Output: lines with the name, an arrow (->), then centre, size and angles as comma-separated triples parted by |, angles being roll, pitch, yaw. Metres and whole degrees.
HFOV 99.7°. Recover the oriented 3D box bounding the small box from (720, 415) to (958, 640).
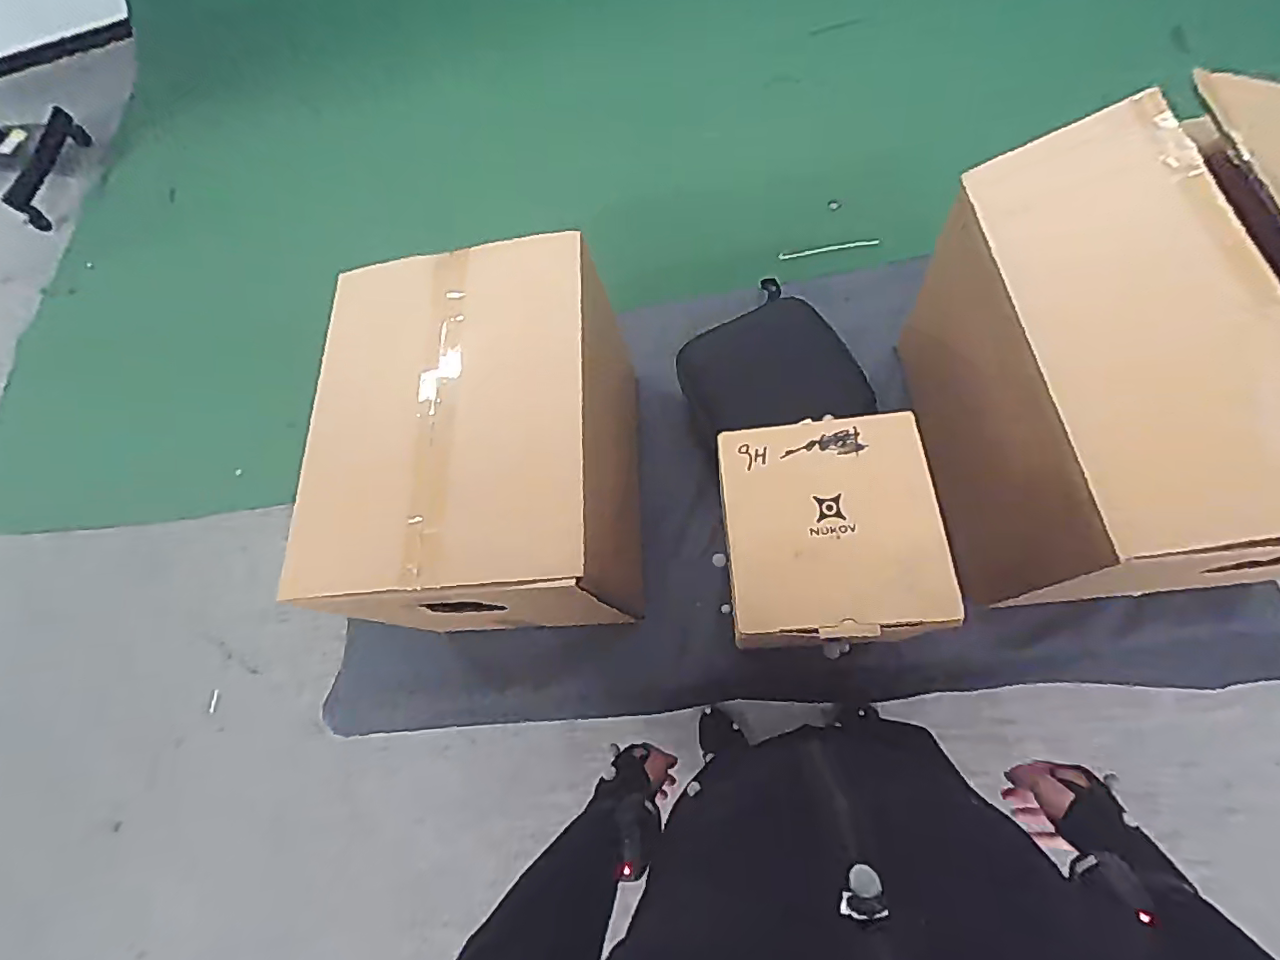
small box -> 0.169, 0.059, 0.516 | 0.168, 0.176, 0.179 | -6, 70, 8
